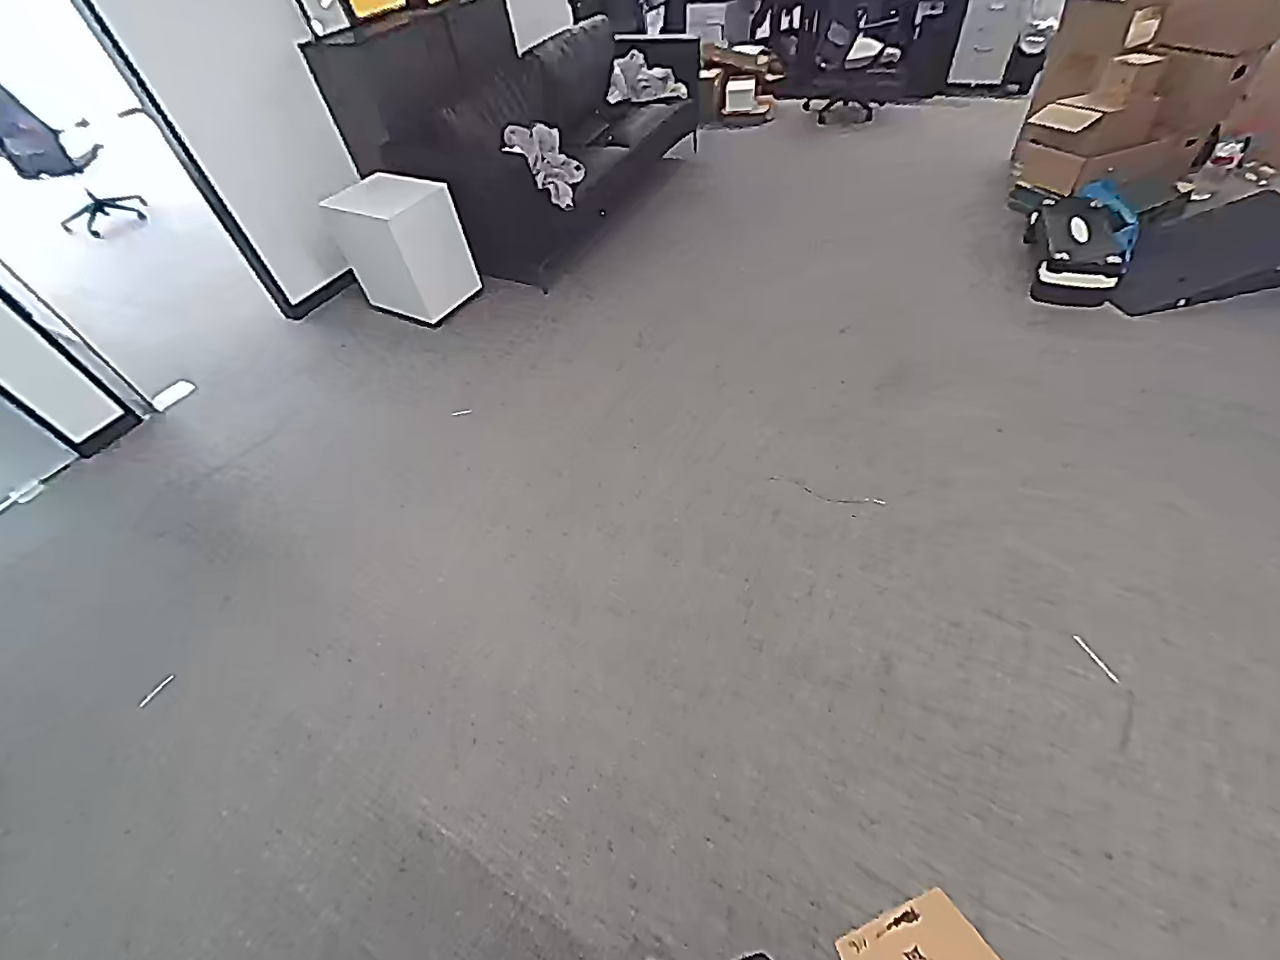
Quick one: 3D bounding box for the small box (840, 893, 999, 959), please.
[{"bbox_3d":[0.378,0.661,0.638,0.168,0.179,0.176,-28,83,-4],"label":"small box"}]
